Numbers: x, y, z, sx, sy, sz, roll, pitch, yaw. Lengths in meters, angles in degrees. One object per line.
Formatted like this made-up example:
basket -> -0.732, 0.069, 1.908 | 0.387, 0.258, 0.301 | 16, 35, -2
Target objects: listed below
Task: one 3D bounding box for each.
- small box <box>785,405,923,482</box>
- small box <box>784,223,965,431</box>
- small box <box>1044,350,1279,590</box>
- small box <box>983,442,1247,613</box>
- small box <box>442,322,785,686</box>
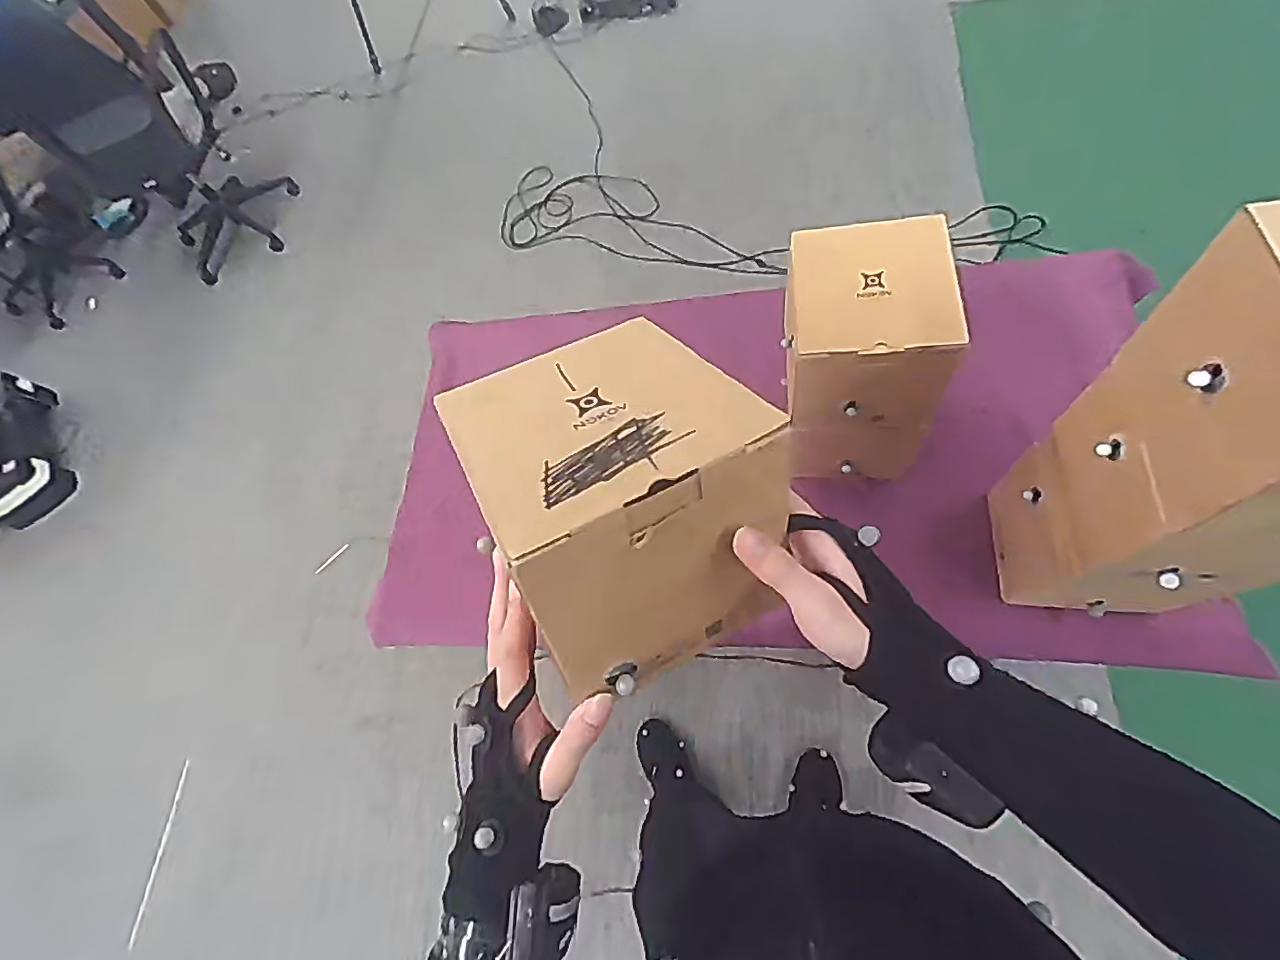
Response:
small box -> 0.304, -0.111, 0.801 | 0.168, 0.176, 0.179 | 2, 68, 14
small box -> 0.265, -0.175, 0.656 | 0.168, 0.176, 0.179 | -1, 68, 12
small box -> 0.526, -0.003, 0.521 | 0.168, 0.176, 0.179 | 1, 67, 15
small box -> 0.557, 0.065, 0.666 | 0.179, 0.176, 0.168 | 2, 67, 14
small box -> -0.016, 0.018, 0.387 | 0.168, 0.176, 0.179 | -25, 43, -15
